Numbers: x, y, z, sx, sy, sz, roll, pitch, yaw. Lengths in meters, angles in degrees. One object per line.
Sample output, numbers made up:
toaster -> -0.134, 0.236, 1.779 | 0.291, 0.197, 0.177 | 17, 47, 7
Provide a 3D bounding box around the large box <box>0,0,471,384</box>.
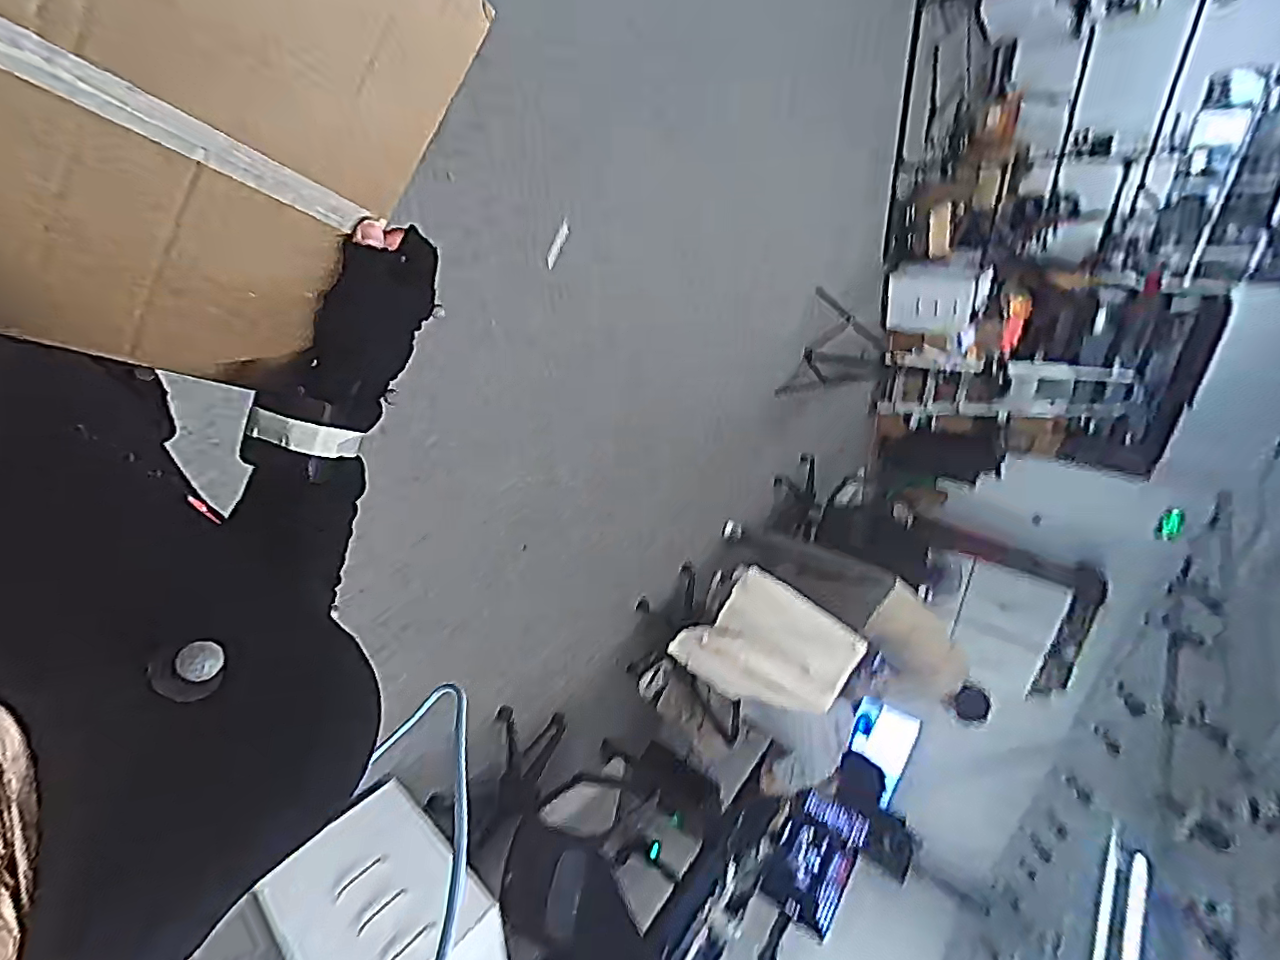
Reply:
large box -> -0.388, -0.306, 0.297 | 0.320, 0.320, 0.408 | -48, 149, 23
